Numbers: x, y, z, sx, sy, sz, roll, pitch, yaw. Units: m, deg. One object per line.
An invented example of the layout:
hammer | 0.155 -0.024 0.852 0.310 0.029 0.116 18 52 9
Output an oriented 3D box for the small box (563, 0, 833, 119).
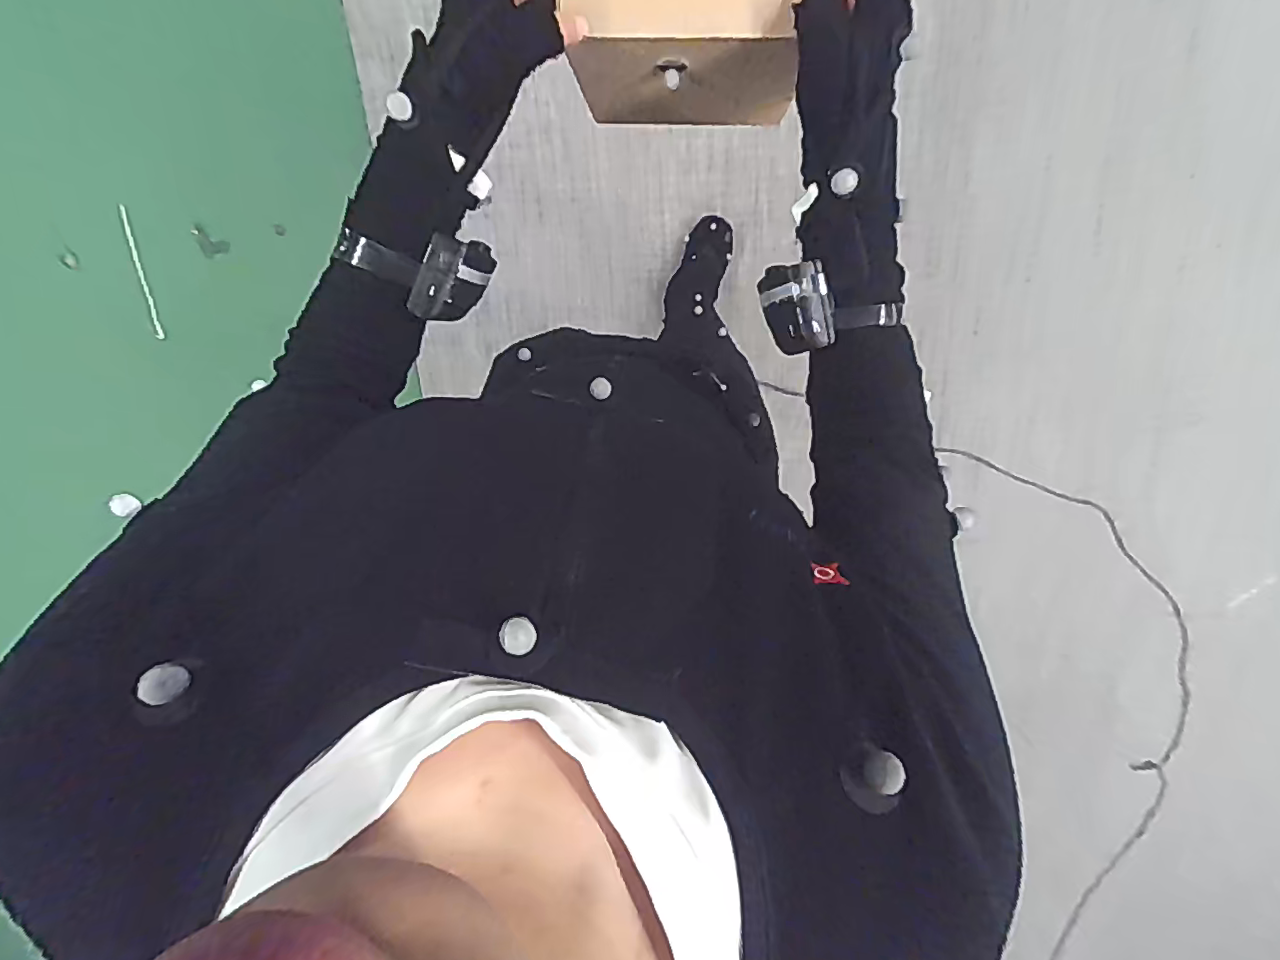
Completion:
small box | 0.045 -0.392 0.406 0.179 0.176 0.168 3 107 3
